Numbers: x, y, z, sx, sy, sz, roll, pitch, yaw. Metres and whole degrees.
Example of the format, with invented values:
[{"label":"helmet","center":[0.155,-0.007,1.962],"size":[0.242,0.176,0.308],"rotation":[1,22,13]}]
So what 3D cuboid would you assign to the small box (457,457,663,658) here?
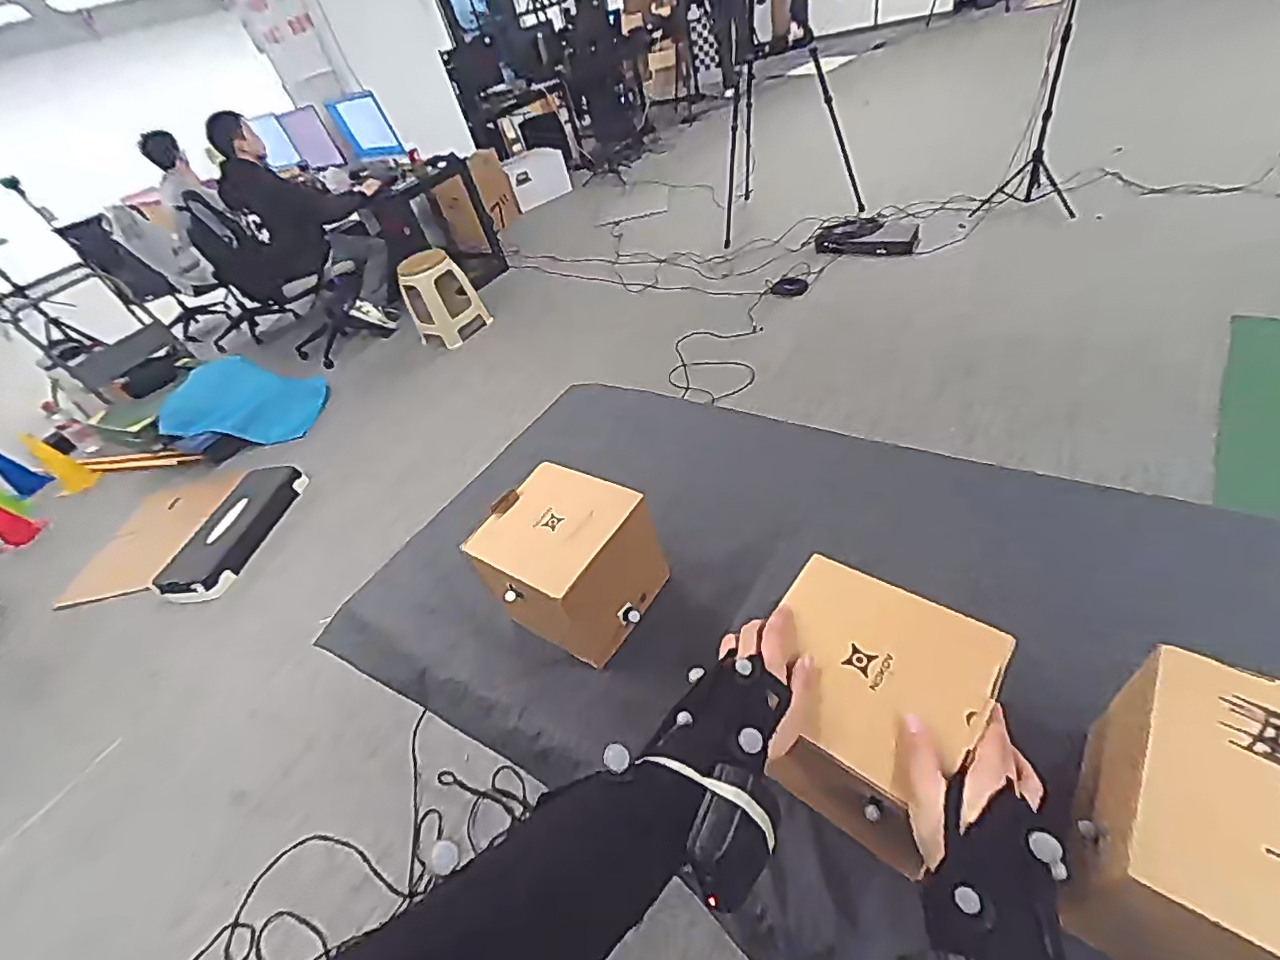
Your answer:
[{"label":"small box","center":[-0.093,0.101,0.703],"size":[0.179,0.176,0.168],"rotation":[19,54,32]}]

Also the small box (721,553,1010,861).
[{"label":"small box","center":[0.198,0.205,0.497],"size":[0.179,0.176,0.168],"rotation":[23,56,36]}]
